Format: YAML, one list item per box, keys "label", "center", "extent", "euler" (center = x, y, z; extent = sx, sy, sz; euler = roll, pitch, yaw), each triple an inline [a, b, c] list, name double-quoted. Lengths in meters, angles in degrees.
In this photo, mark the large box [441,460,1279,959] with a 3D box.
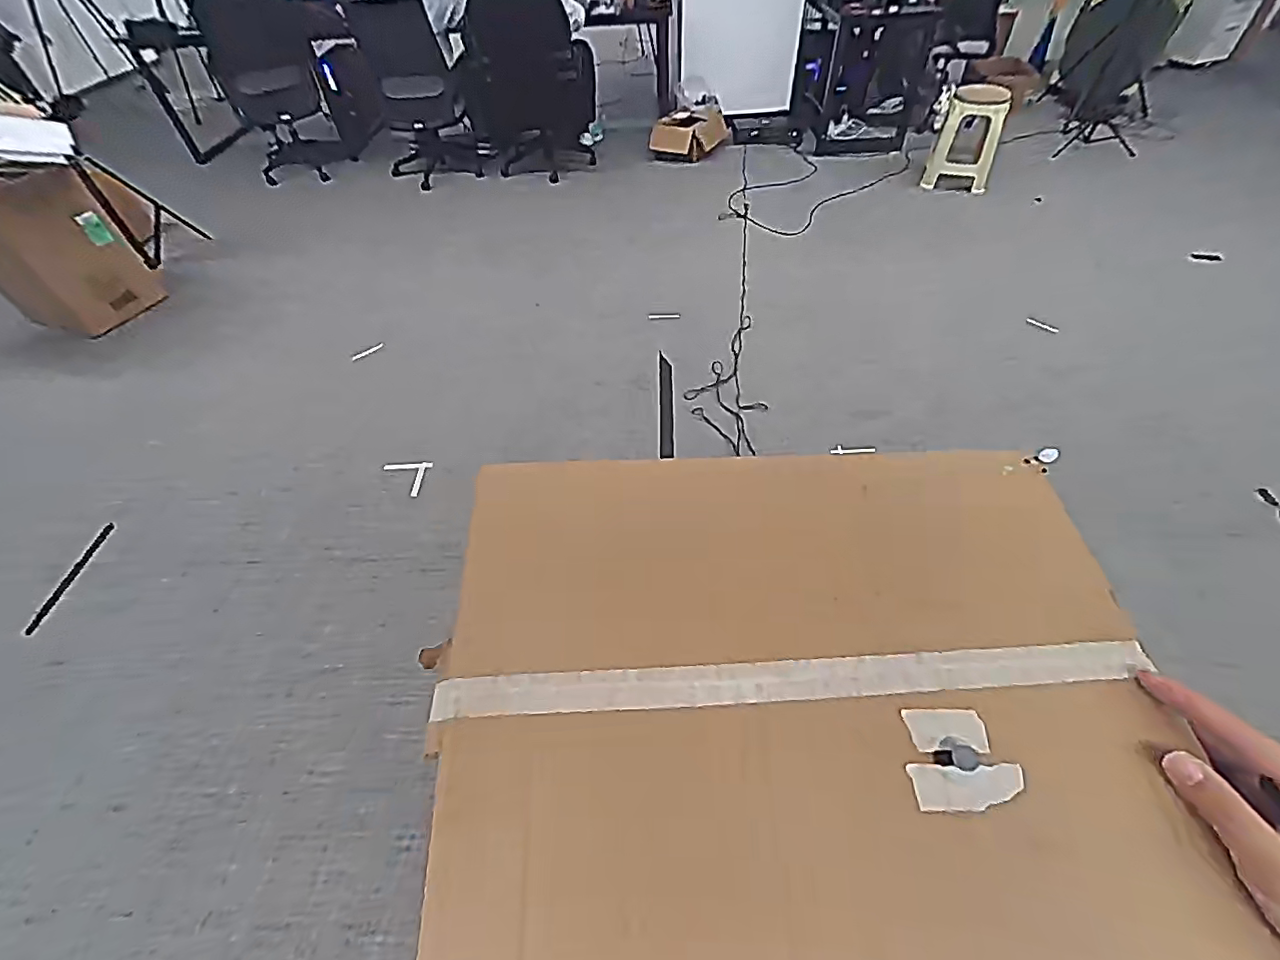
- label: "large box"
  center: [0.091, 0.202, 0.444]
  extent: [0.408, 0.320, 0.320]
  euler: [-2, 58, -4]
